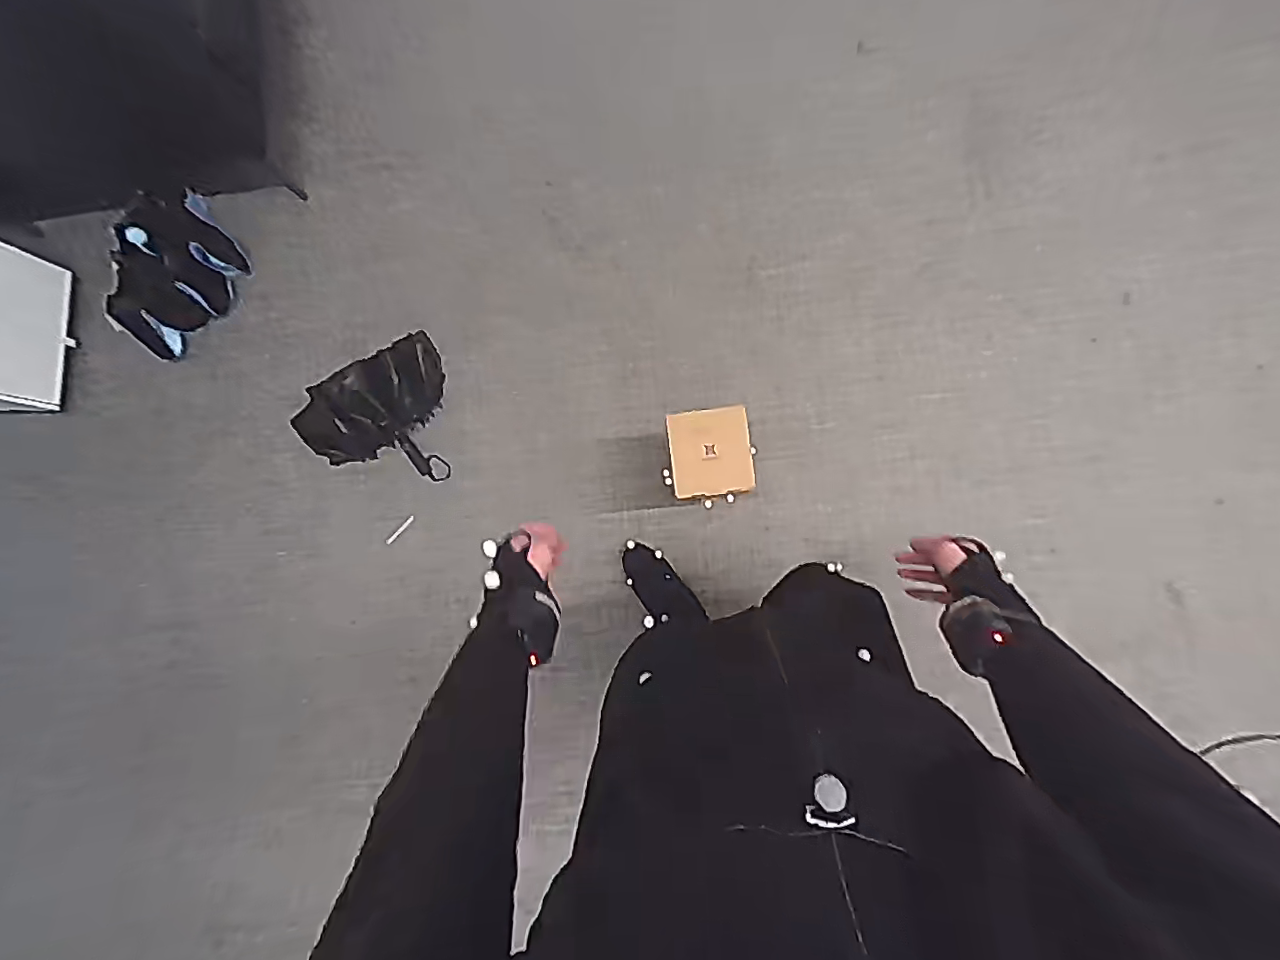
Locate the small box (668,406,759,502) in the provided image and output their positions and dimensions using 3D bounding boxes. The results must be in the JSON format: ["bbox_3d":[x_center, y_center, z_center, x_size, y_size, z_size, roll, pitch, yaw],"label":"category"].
[{"bbox_3d":[0.153,-0.048,1.166,0.168,0.176,0.179,-8,83,2],"label":"small box"}]
